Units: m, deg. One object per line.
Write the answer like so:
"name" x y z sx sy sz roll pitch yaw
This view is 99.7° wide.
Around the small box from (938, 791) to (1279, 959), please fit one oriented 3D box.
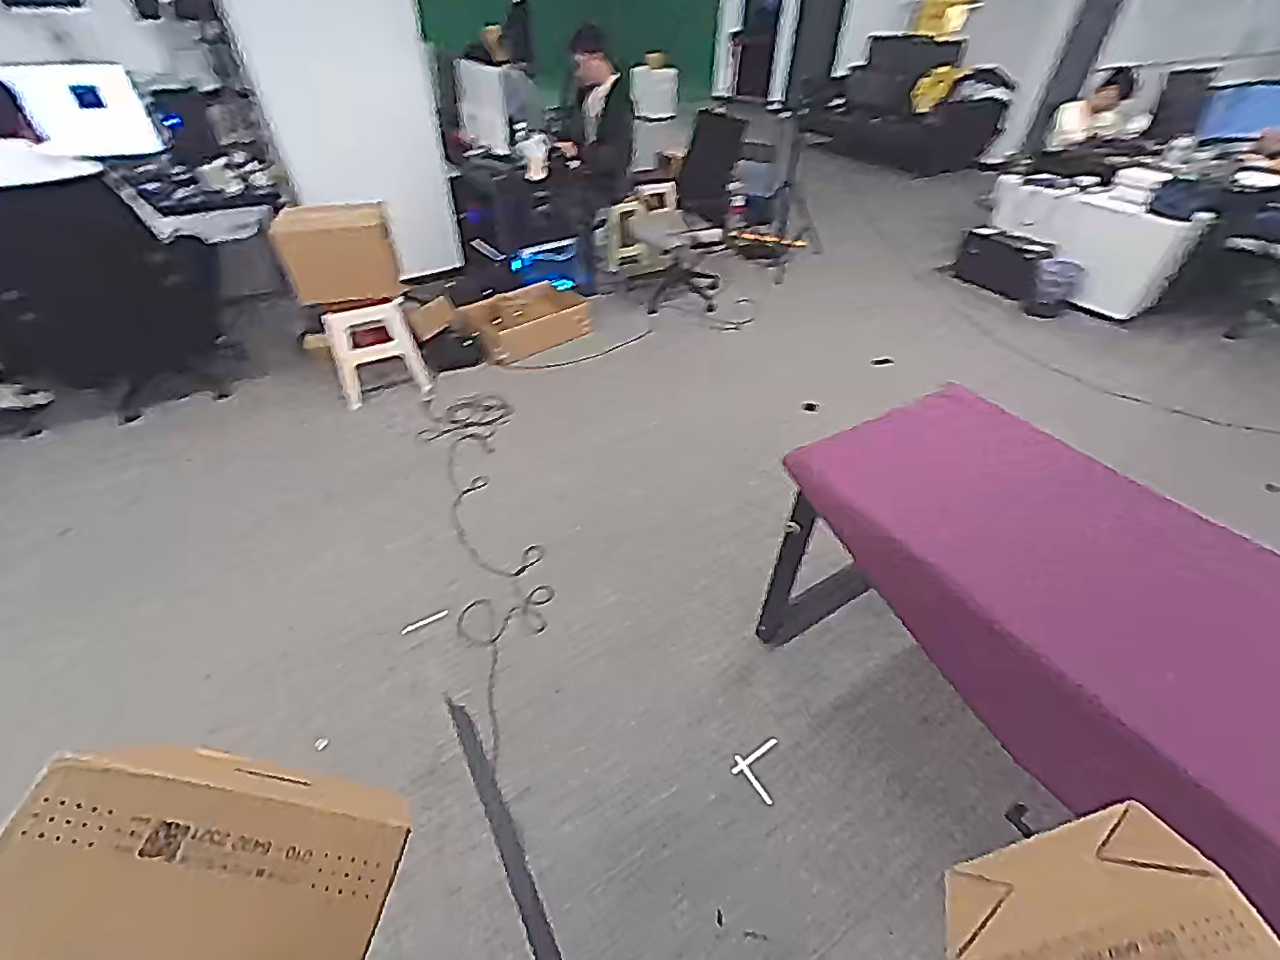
"small box" 0.325 0.336 0.359 0.168 0.179 0.176 -36 62 16
